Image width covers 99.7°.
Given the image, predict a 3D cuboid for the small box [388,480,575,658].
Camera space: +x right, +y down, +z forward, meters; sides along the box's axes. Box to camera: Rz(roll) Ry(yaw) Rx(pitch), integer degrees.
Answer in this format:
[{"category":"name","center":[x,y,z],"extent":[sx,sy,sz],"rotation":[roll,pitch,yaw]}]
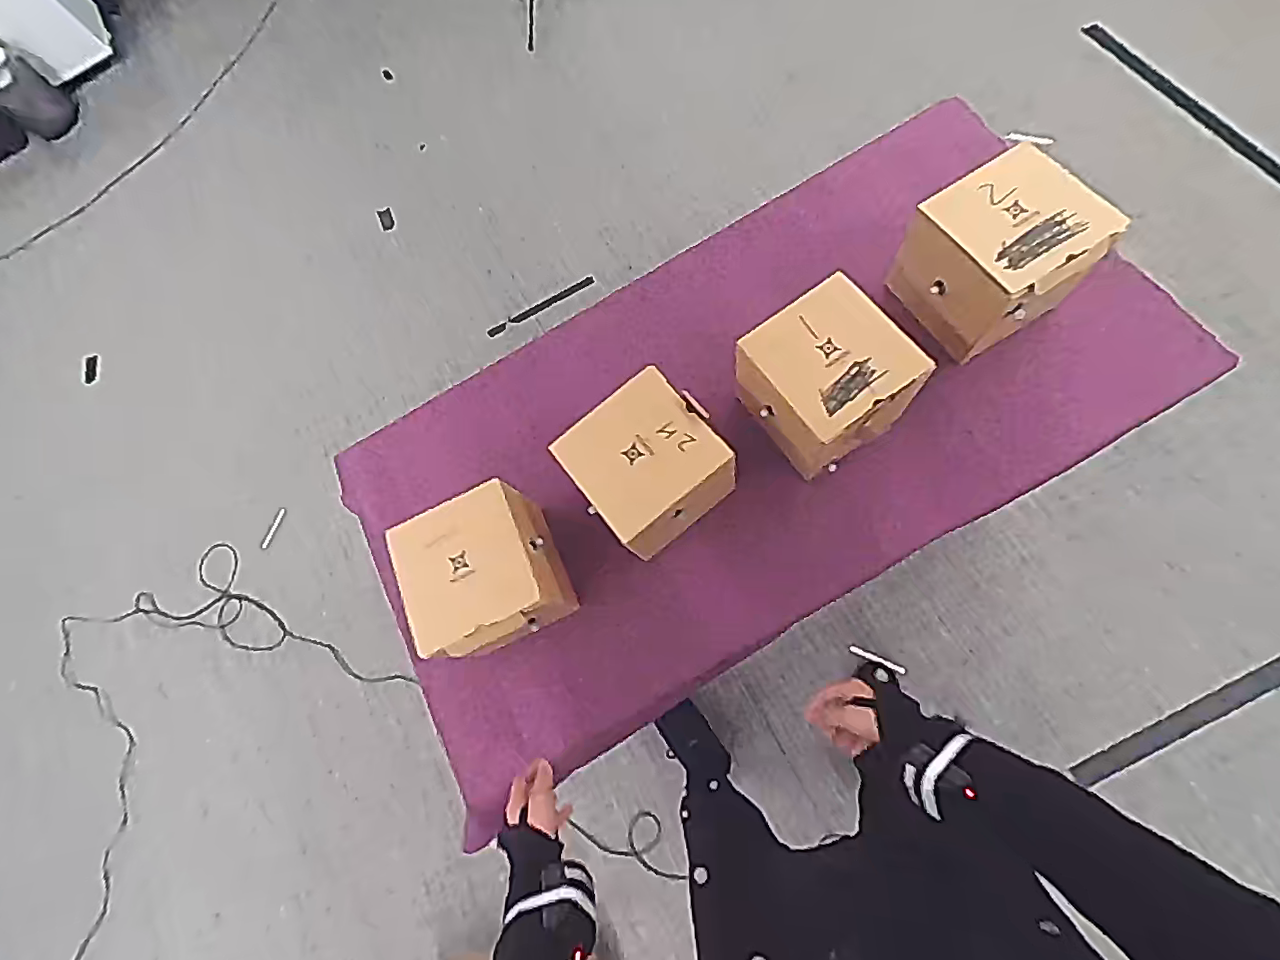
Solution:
[{"category":"small box","center":[-0.208,0.127,0.748],"extent":[0.168,0.176,0.179],"rotation":[-25,71,1]}]

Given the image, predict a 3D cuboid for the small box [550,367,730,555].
[{"category":"small box","center":[0.011,-0.014,0.749],"extent":[0.179,0.176,0.168],"rotation":[-39,72,-3]}]

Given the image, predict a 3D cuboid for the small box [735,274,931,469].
[{"category":"small box","center":[0.249,-0.133,0.741],"extent":[0.168,0.176,0.179],"rotation":[-34,71,-1]}]
